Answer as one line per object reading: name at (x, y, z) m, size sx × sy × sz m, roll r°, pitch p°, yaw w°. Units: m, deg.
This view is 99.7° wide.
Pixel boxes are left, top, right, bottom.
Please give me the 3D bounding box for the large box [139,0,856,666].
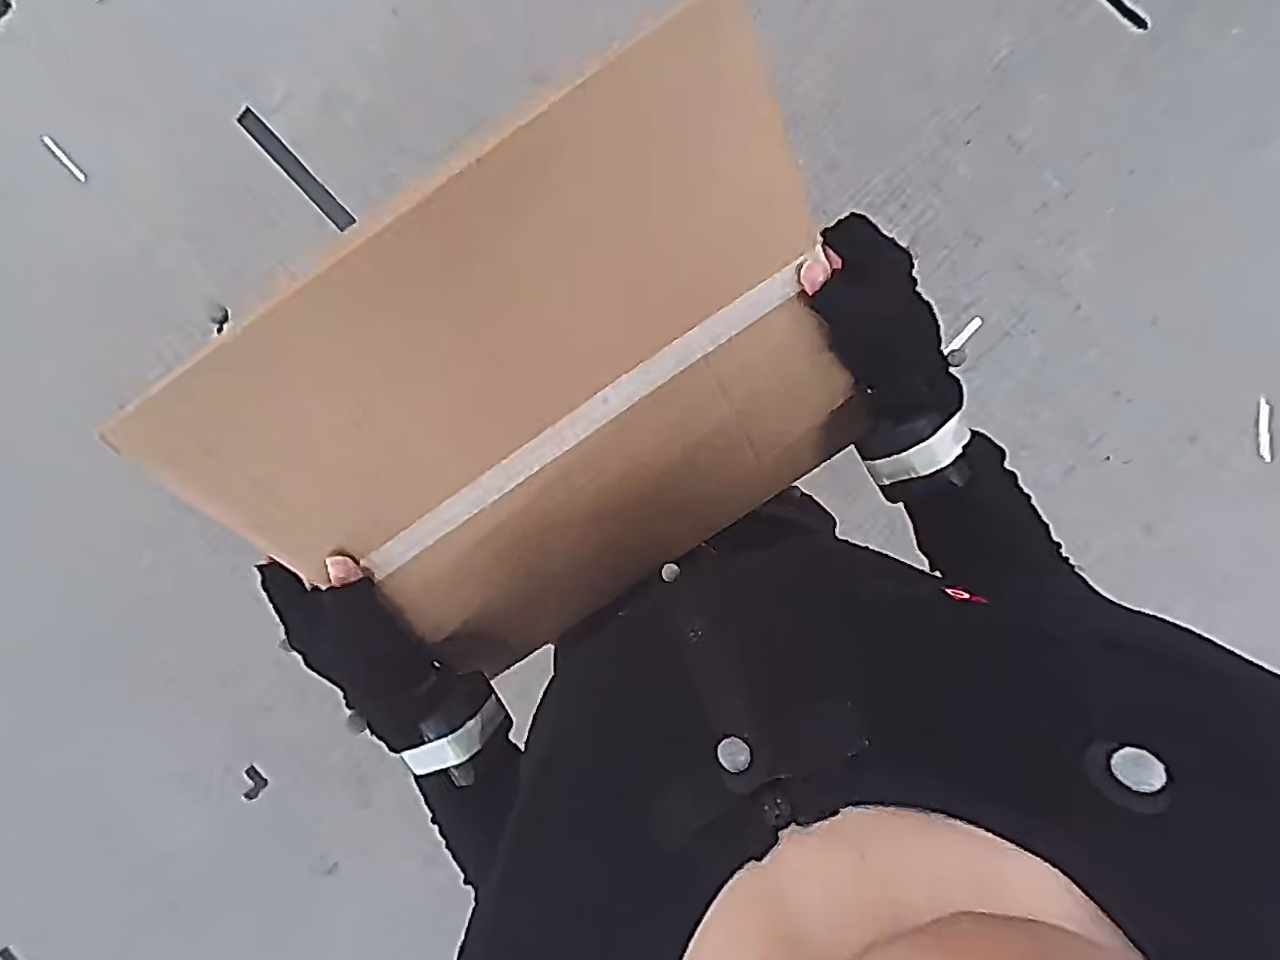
large box at (-0.096, -0.118, 0.501) m, size 0.408 × 0.320 × 0.320 m, roll -34°, pitch 126°, yaw 4°
